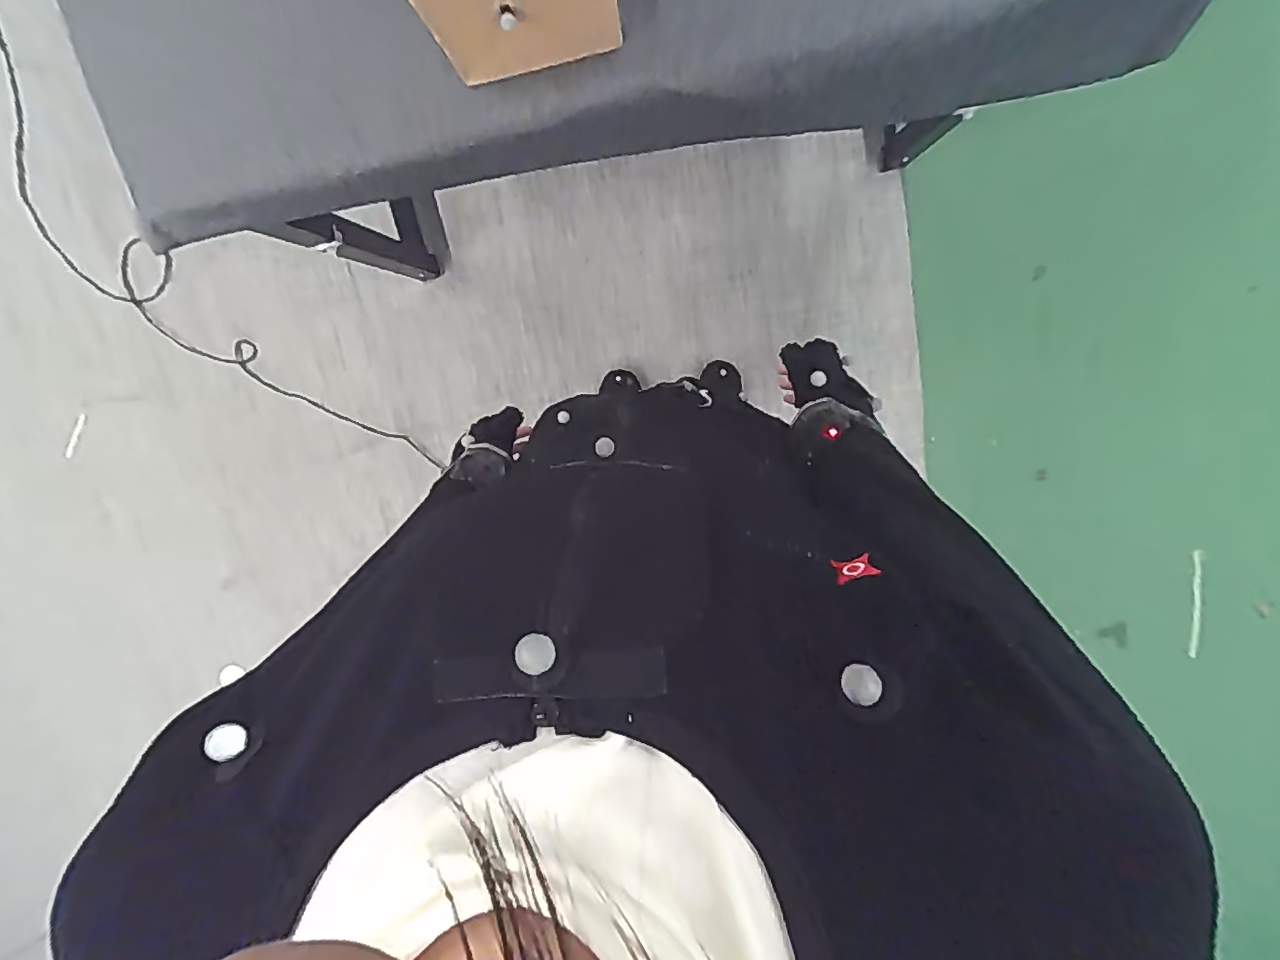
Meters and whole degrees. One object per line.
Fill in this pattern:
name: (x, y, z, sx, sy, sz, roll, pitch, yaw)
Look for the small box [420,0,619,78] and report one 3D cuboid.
small box: (-0.124, -0.509, 0.493, 0.179, 0.176, 0.168, -11, 101, 4)
